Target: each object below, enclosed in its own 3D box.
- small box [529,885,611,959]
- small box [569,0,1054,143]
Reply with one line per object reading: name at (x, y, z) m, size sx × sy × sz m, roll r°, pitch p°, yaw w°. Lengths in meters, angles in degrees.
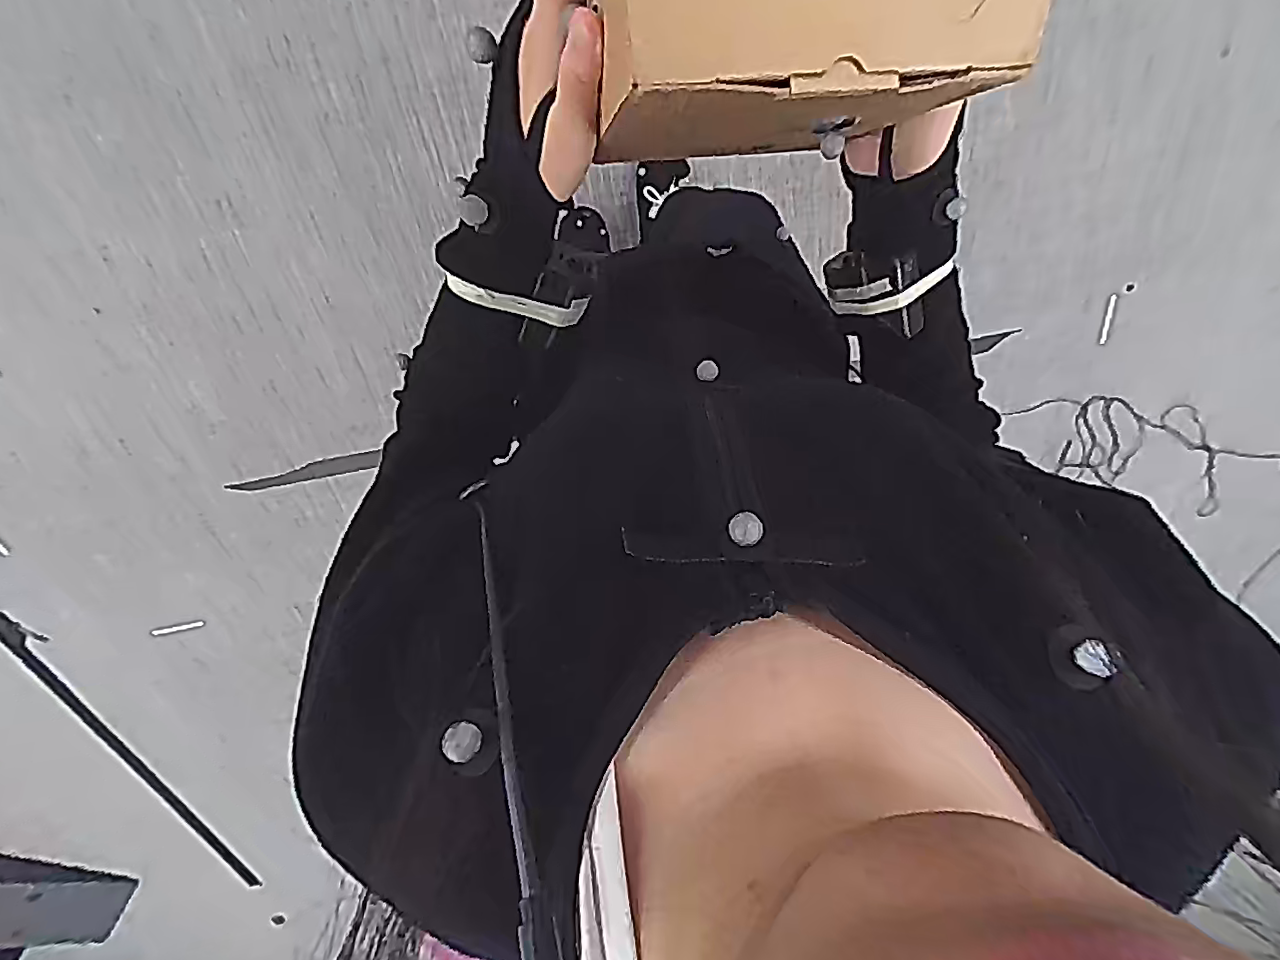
small box at (-0.150, 1.043, 1.198) m, size 0.168 × 0.176 × 0.179 m, roll -7°, pitch 118°, yaw -5°
small box at (0.056, -0.262, 0.238) m, size 0.168 × 0.176 × 0.179 m, roll -9°, pitch 113°, yaw -9°
